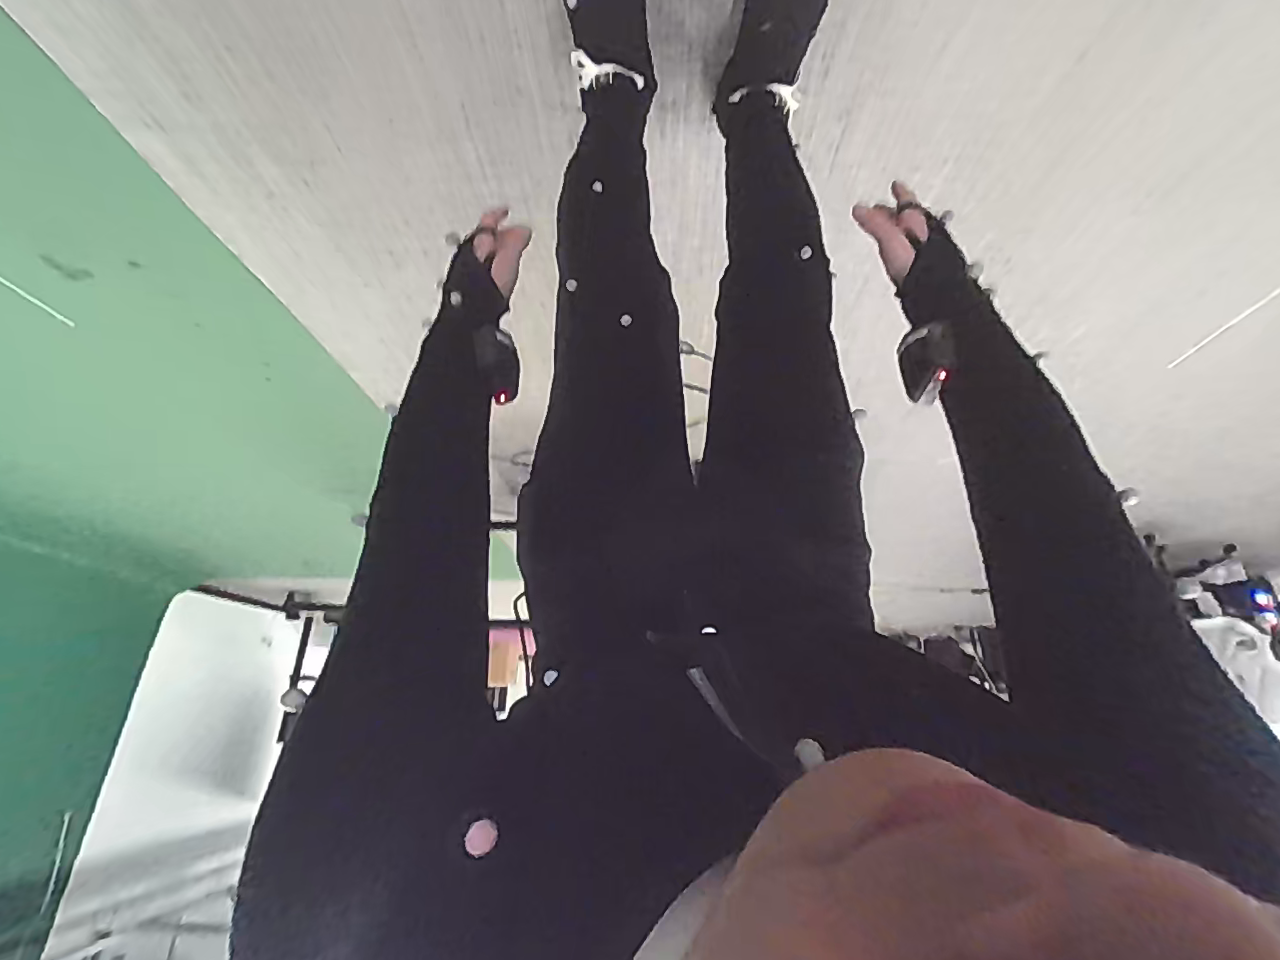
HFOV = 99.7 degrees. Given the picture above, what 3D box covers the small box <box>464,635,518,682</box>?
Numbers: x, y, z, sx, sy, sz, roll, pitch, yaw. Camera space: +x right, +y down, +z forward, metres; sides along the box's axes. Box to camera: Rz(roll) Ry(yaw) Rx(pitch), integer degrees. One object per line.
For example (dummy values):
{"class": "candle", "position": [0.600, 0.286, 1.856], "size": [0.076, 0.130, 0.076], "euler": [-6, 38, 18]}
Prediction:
{"class": "small box", "position": [-0.592, 0.720, 2.173], "size": [0.168, 0.176, 0.179], "euler": [-1, 158, 1]}
